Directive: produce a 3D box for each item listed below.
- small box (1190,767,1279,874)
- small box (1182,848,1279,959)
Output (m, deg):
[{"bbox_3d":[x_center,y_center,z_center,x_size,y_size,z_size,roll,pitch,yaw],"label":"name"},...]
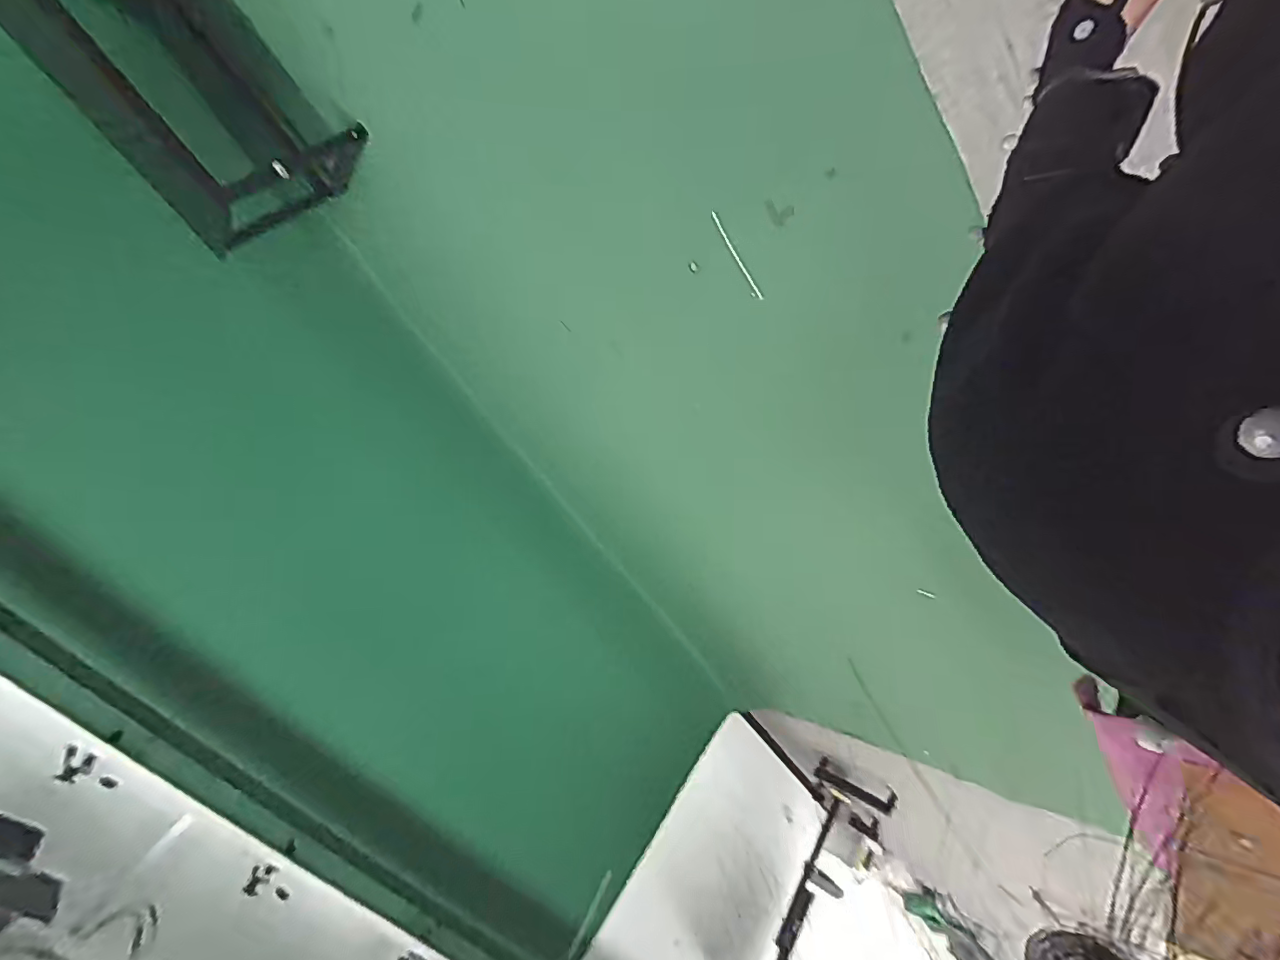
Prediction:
[{"bbox_3d":[1.119,0.642,0.951,0.168,0.176,0.179,52,150,-18],"label":"small box"},{"bbox_3d":[1.022,0.753,0.877,0.179,0.176,0.168,52,149,-19],"label":"small box"}]
